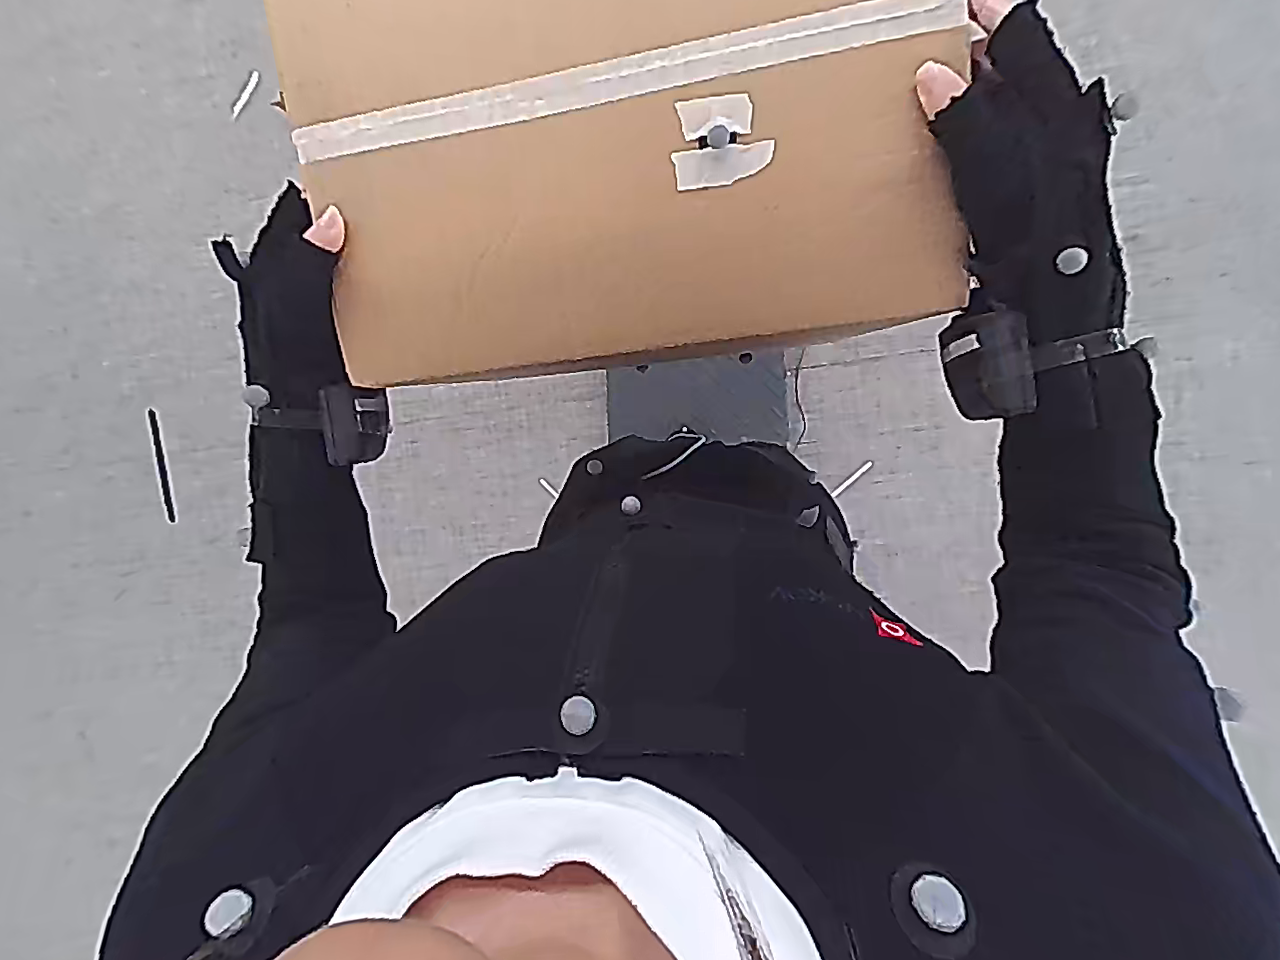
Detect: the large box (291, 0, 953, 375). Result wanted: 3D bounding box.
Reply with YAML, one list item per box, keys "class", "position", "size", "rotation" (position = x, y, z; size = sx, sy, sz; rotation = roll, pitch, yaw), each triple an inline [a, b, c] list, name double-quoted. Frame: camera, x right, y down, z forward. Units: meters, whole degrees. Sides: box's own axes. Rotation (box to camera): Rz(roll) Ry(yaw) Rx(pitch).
- class: "large box"
  position: [-0.004, -0.276, 0.481]
  size: [0.408, 0.320, 0.320]
  rotation: [-6, 102, 8]
